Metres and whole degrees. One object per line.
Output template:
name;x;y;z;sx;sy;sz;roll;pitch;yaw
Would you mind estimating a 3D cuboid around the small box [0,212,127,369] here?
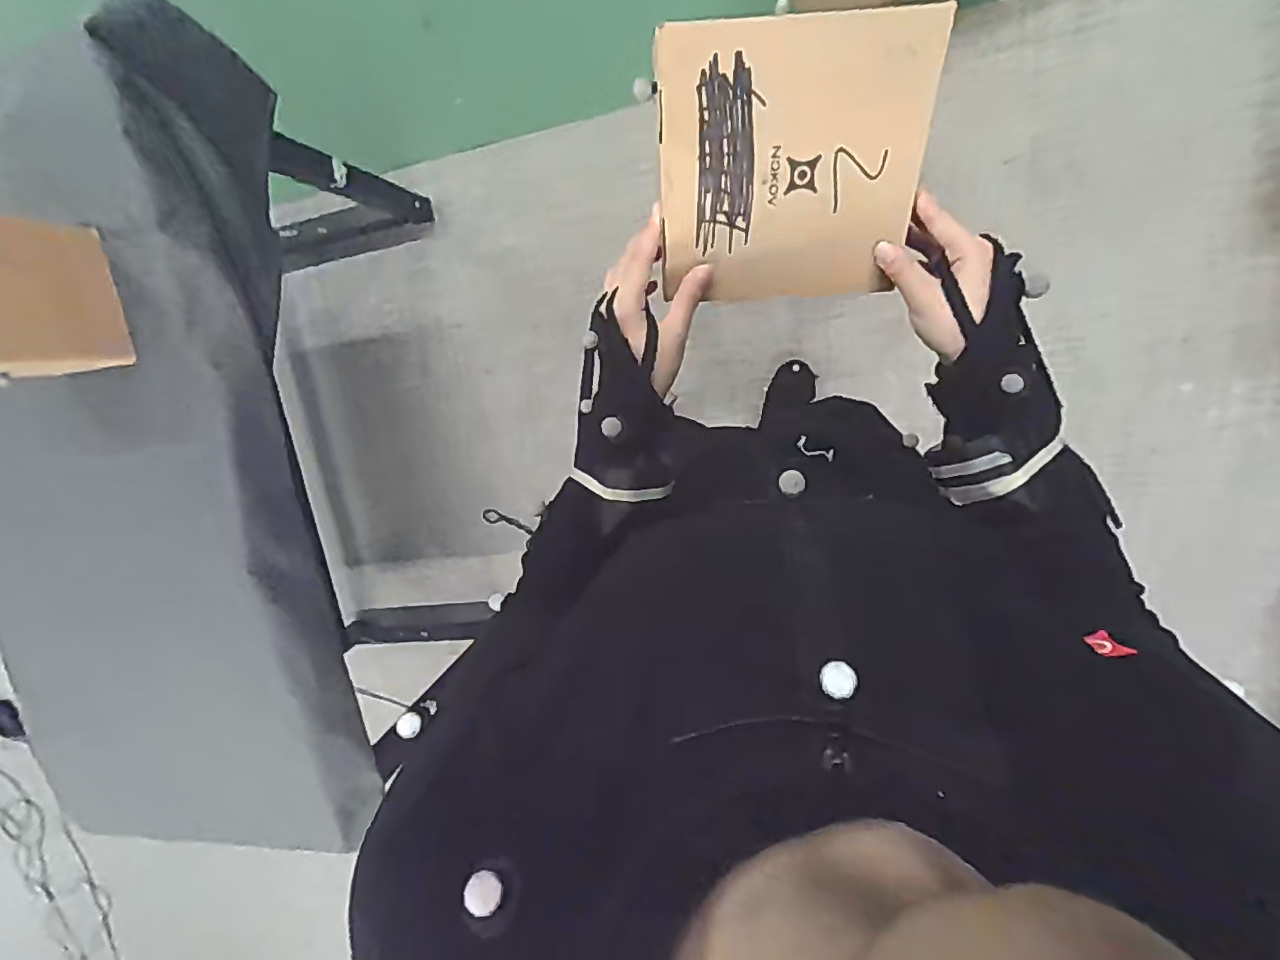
small box;-0.803;-0.230;0.672;0.168;0.176;0.179;-3;103;14
